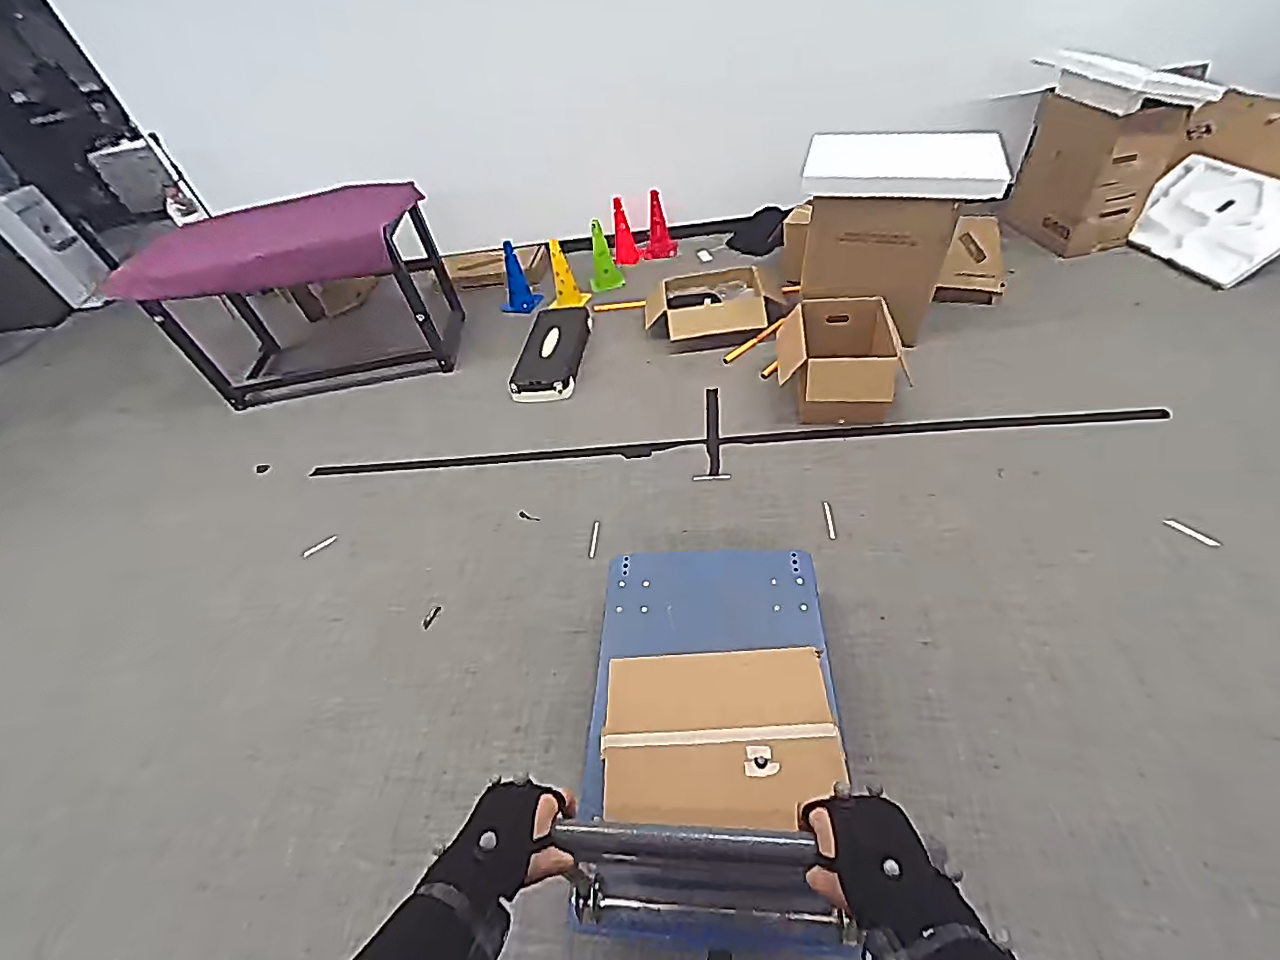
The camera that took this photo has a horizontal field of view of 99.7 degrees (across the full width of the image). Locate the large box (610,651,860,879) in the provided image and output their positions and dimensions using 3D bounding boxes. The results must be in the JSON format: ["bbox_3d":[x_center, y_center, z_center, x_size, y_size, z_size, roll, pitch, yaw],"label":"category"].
[{"bbox_3d":[0.160,0.562,1.060,0.408,0.320,0.320,-5,47,5],"label":"large box"}]
